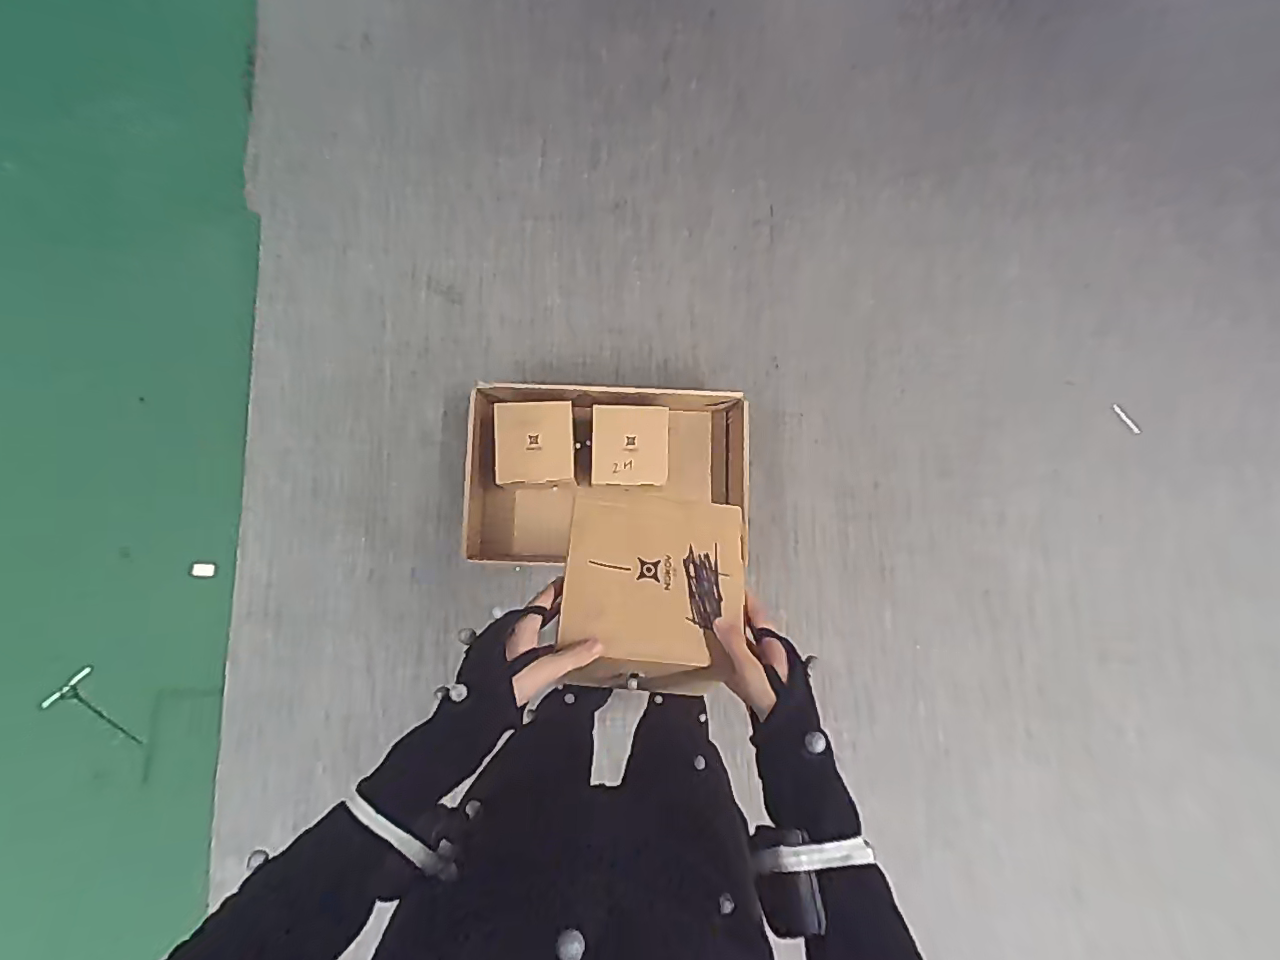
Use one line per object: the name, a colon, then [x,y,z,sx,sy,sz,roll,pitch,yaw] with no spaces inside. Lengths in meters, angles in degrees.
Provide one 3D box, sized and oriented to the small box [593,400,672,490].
small box: [-0.019,-0.075,1.236,0.168,0.176,0.179,2,85,-2]
